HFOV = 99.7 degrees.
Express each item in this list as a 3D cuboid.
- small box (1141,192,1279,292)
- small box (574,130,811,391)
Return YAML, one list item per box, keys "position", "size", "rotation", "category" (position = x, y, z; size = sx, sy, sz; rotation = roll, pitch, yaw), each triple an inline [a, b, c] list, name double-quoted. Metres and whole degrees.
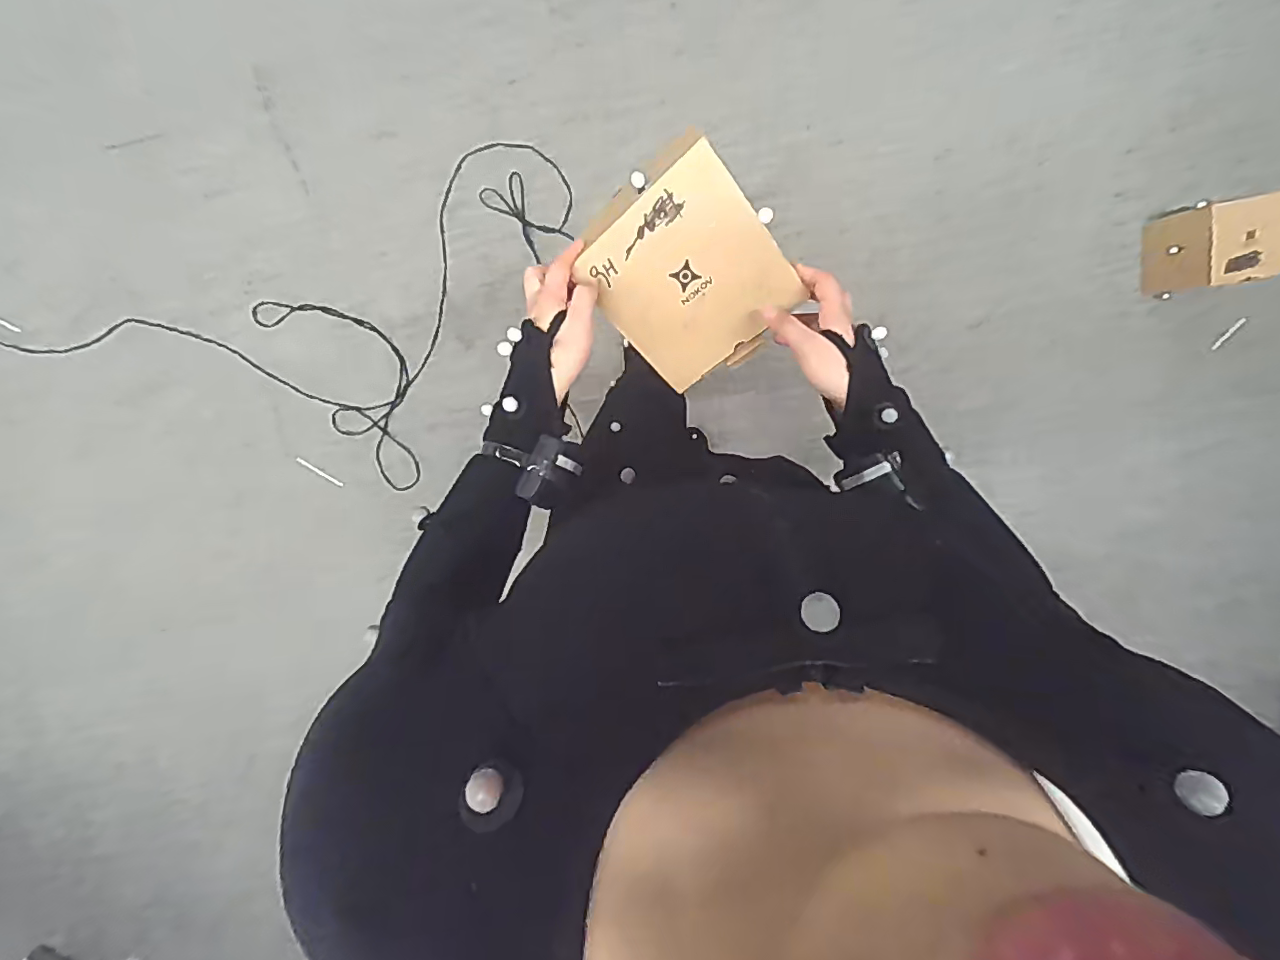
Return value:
- position: [1.321, -0.542, 1.258]
  size: [0.168, 0.176, 0.179]
  rotation: [-9, 102, 3]
  category: "small box"
- position: [0.053, -0.236, 0.579]
  size: [0.168, 0.176, 0.179]
  rotation: [-34, 121, 24]
  category: "small box"
